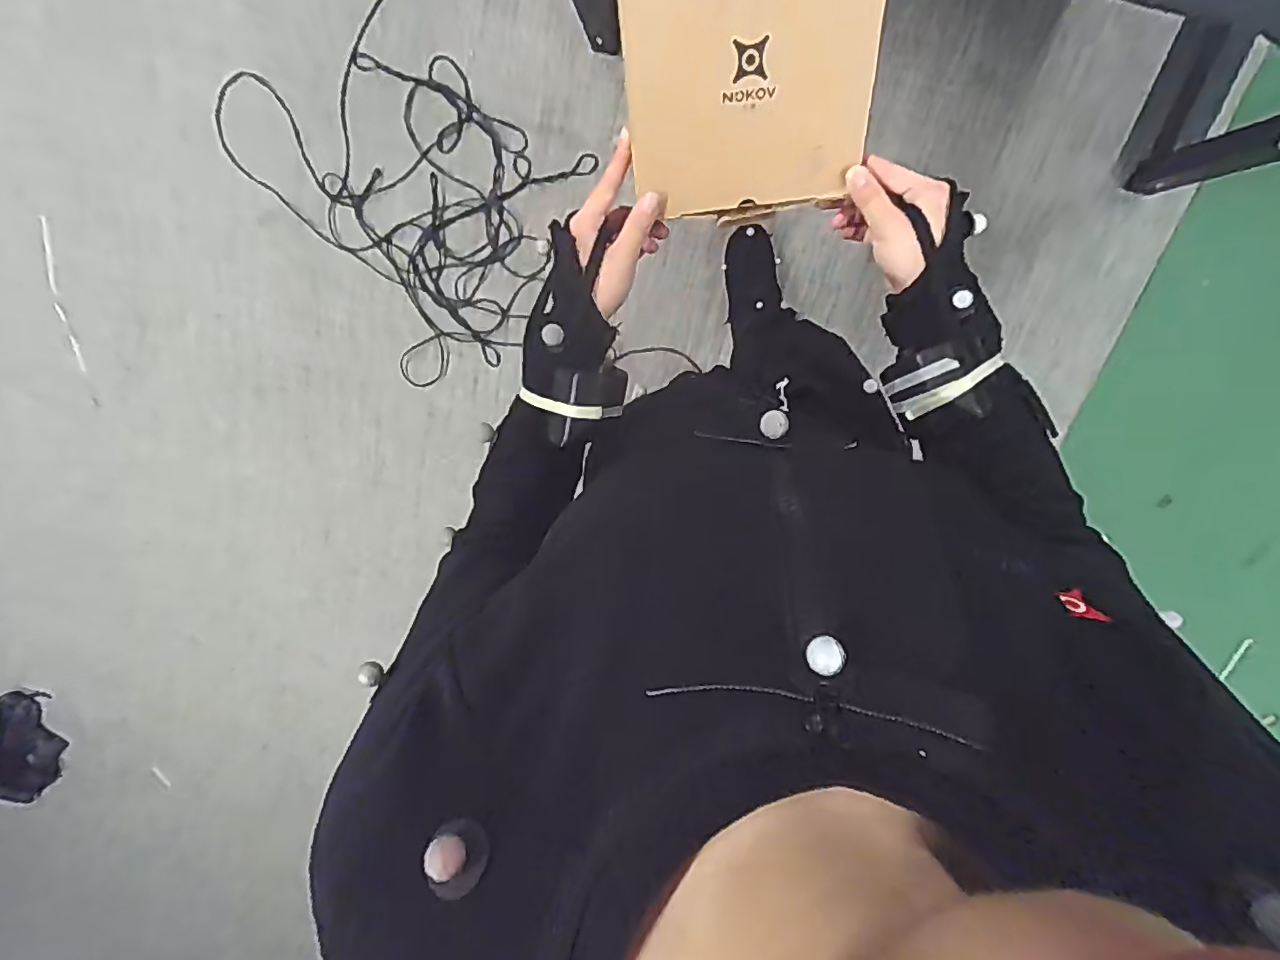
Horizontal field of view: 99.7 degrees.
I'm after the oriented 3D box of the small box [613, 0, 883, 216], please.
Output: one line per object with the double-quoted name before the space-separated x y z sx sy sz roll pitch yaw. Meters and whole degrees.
"small box" 0.067 -0.323 0.407 0.168 0.176 0.179 -7 130 3
